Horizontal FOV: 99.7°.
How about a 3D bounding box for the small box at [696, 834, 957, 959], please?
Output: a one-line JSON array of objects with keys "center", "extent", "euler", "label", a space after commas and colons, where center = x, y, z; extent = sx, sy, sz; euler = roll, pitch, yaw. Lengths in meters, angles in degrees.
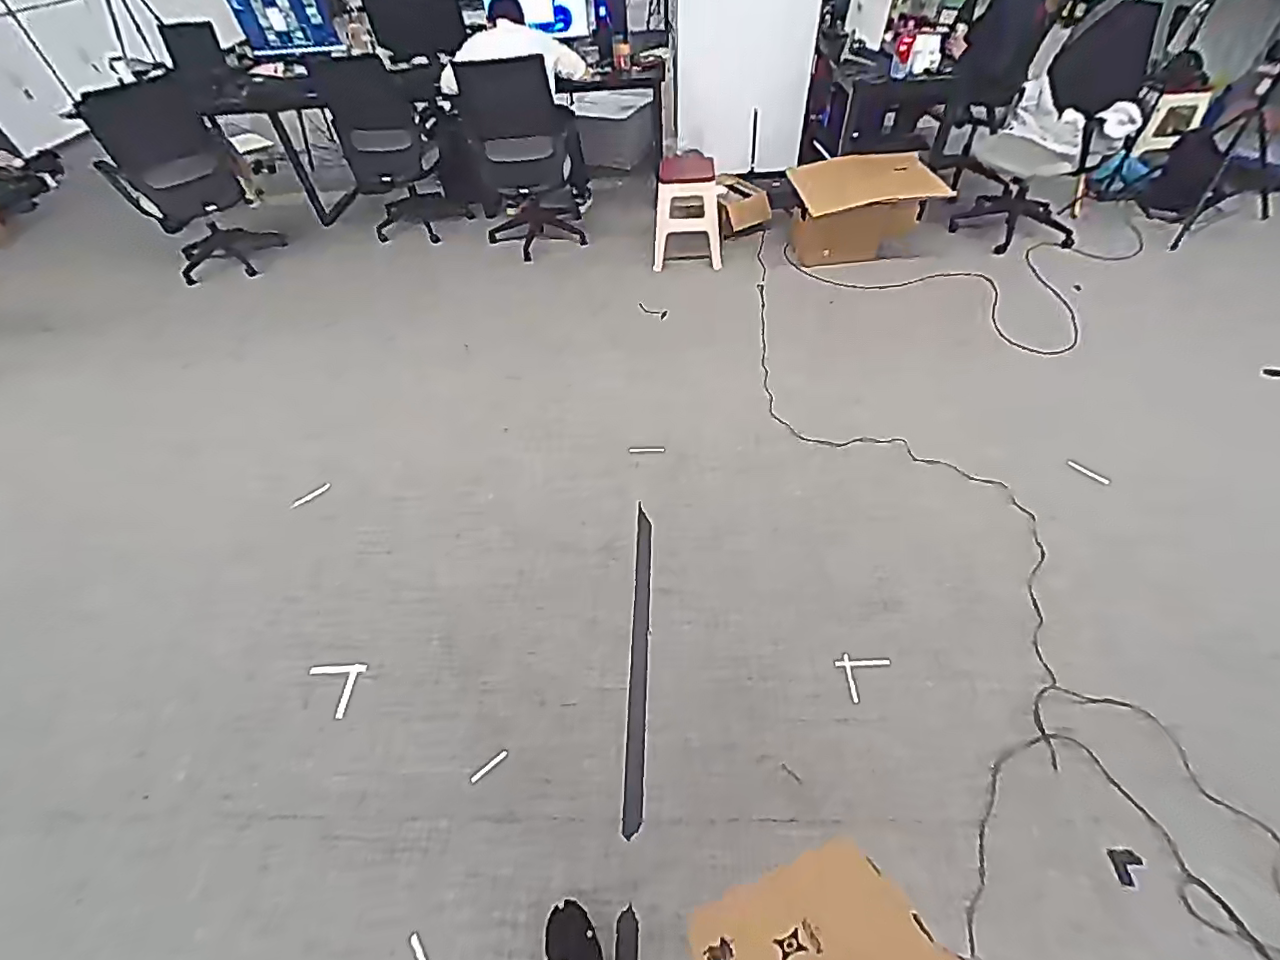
[{"center": [0.167, 0.448, 0.440], "extent": [0.179, 0.168, 0.176], "euler": [-22, 88, -6], "label": "small box"}]
